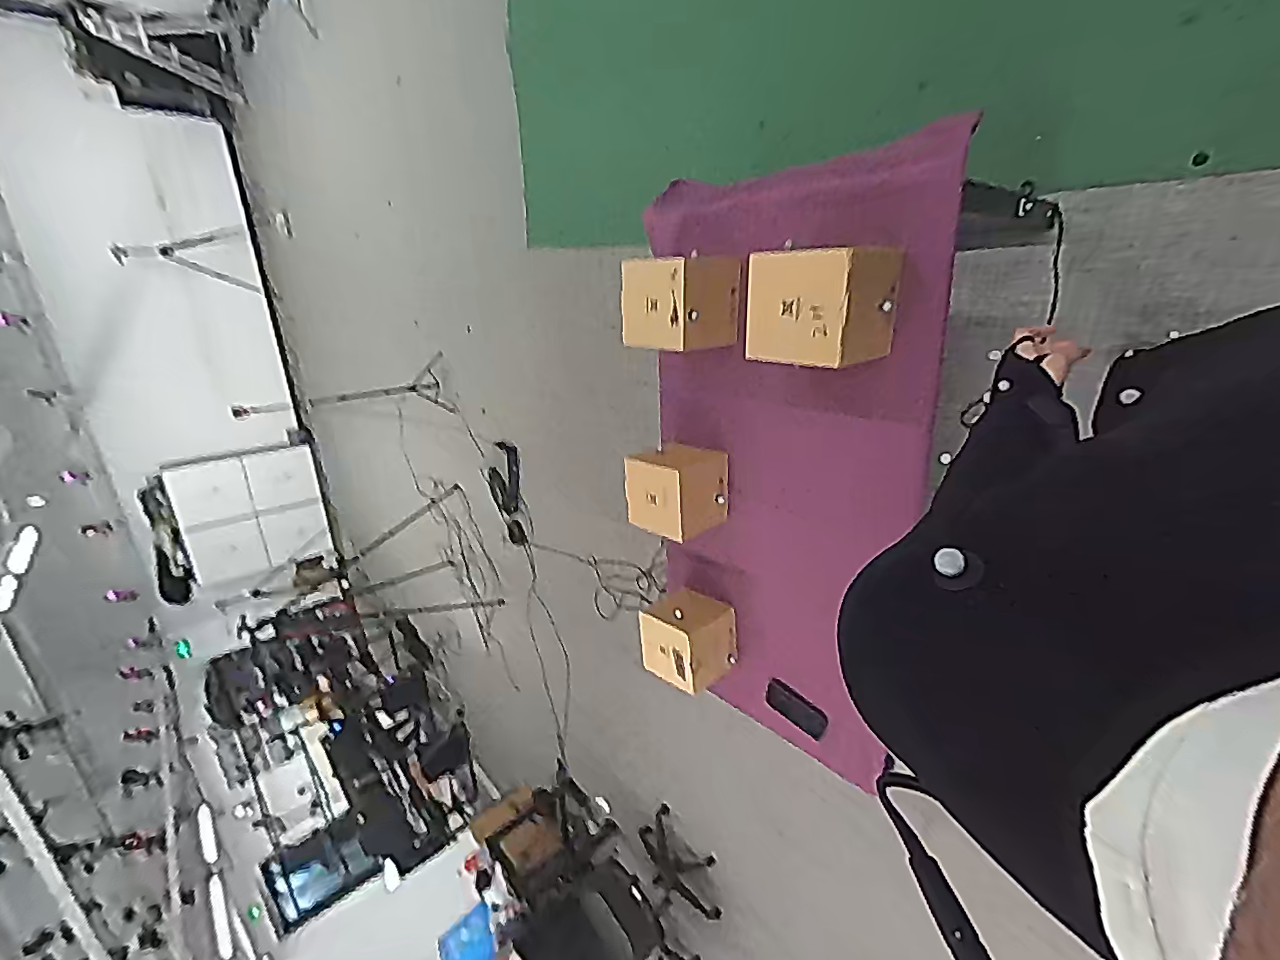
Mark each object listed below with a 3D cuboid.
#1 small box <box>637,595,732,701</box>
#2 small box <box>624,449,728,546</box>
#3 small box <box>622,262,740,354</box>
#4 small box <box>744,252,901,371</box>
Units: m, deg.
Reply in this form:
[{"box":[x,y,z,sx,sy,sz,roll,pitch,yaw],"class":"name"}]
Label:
[{"box":[0.117,0.406,1.346,0.179,0.176,0.168,12,112,47],"class":"small box"},{"box":[0.083,0.031,1.249,0.179,0.176,0.168,16,116,45],"class":"small box"},{"box":[0.081,-0.354,1.106,0.179,0.176,0.168,20,119,44],"class":"small box"},{"box":[0.293,-0.278,0.881,0.179,0.176,0.168,20,120,44],"class":"small box"}]
